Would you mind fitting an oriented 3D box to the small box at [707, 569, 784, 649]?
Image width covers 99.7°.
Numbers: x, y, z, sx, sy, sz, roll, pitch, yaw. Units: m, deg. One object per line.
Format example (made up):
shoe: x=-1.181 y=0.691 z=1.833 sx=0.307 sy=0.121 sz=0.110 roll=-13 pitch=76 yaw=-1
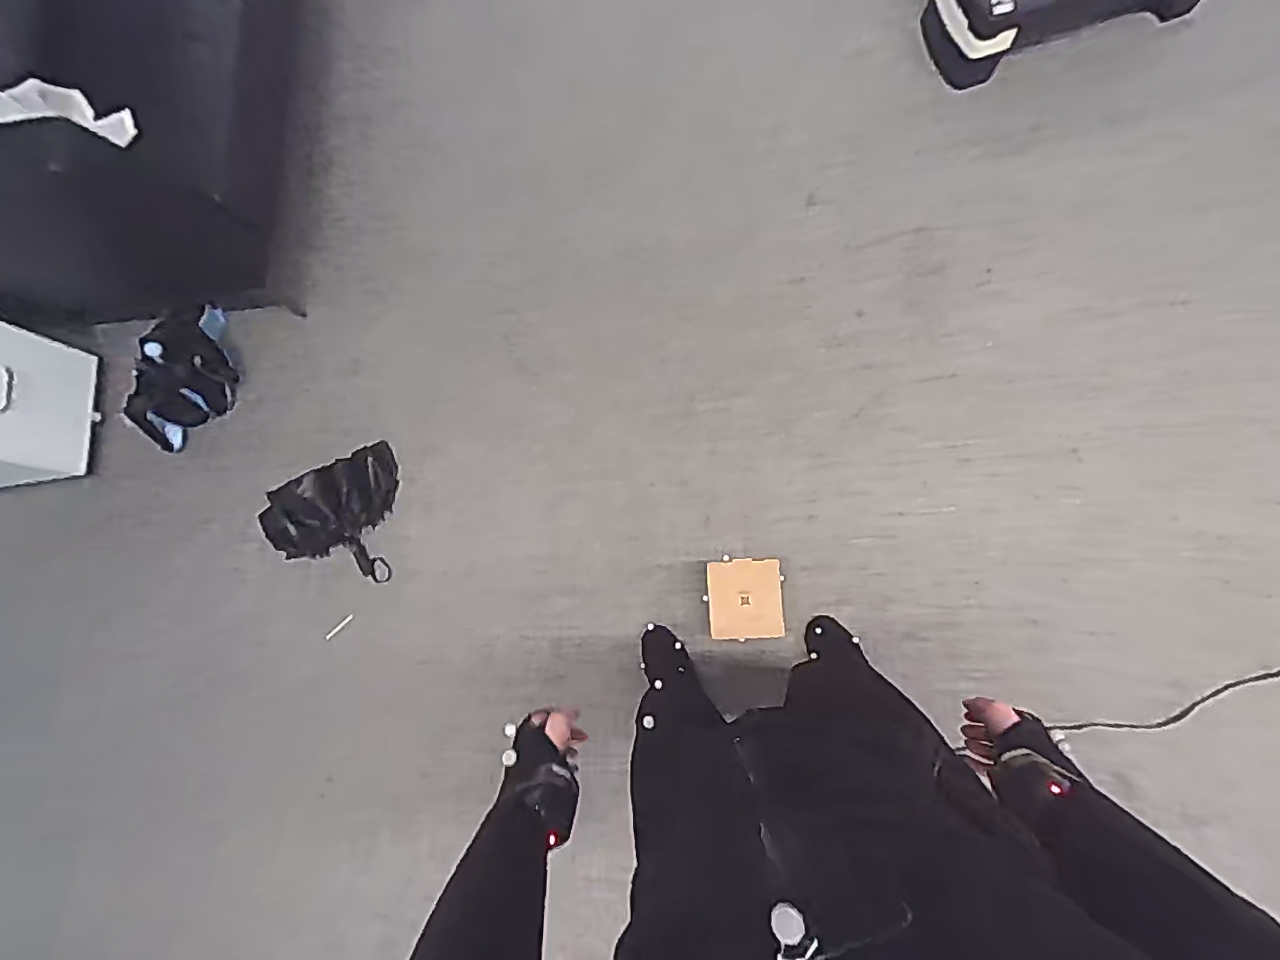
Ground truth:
small box: x=0.250 y=0.308 z=1.301 sx=0.168 sy=0.176 sz=0.179 roll=-4 pitch=79 yaw=9
